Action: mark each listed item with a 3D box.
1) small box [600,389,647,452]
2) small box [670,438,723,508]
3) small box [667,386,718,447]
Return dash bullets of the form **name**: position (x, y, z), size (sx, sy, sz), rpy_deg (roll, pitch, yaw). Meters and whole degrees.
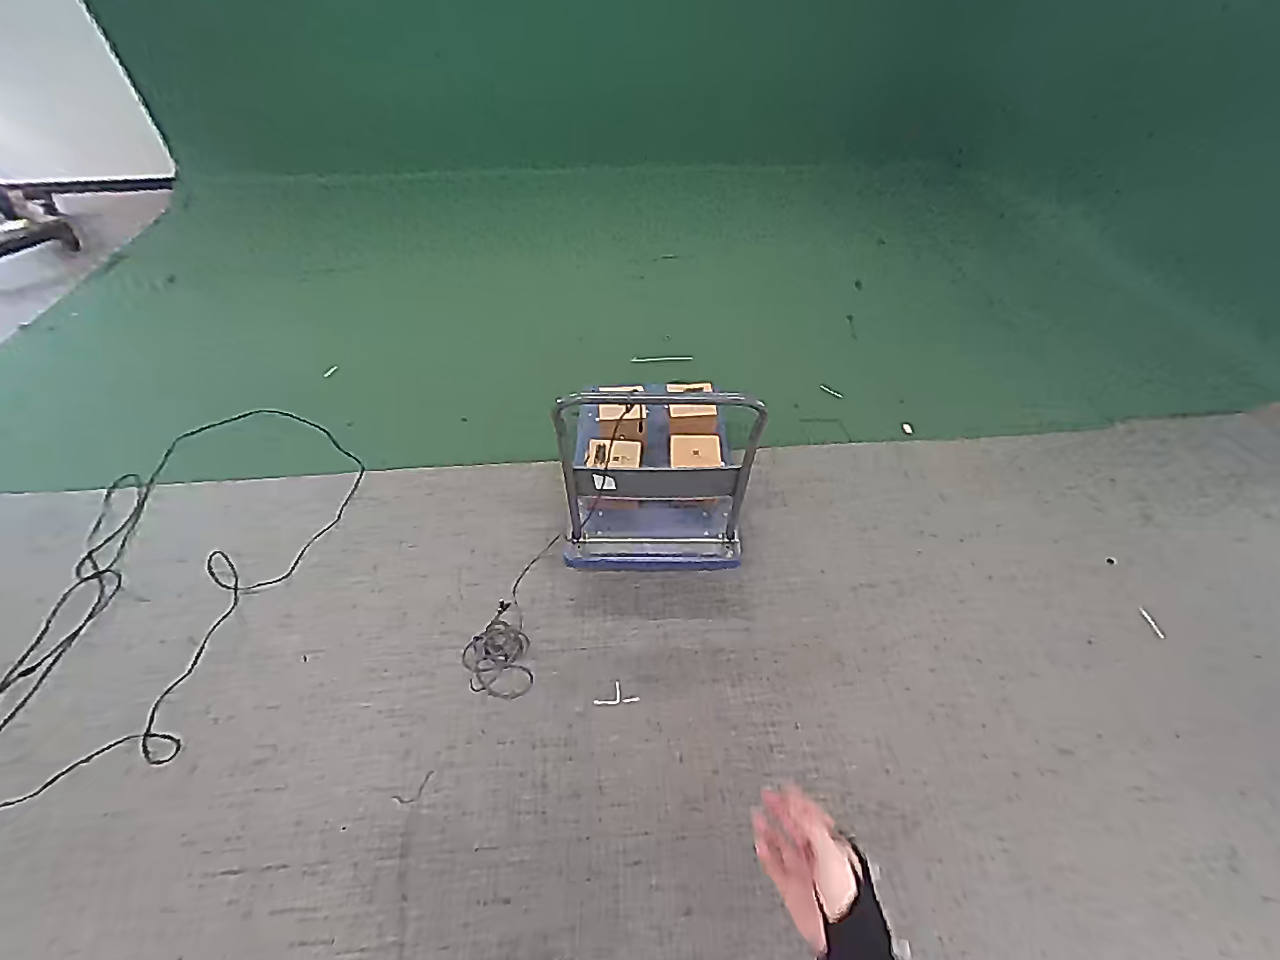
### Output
- **small box**: position (-0.061, -0.216, 2.012), size (0.168, 0.176, 0.179), rpy_deg (-2, 49, -2)
- **small box**: position (0.189, -0.024, 1.845), size (0.168, 0.176, 0.179), rpy_deg (1, 50, 1)
- **small box**: position (0.191, -0.229, 2.021), size (0.168, 0.176, 0.179), rpy_deg (-3, 50, -1)
